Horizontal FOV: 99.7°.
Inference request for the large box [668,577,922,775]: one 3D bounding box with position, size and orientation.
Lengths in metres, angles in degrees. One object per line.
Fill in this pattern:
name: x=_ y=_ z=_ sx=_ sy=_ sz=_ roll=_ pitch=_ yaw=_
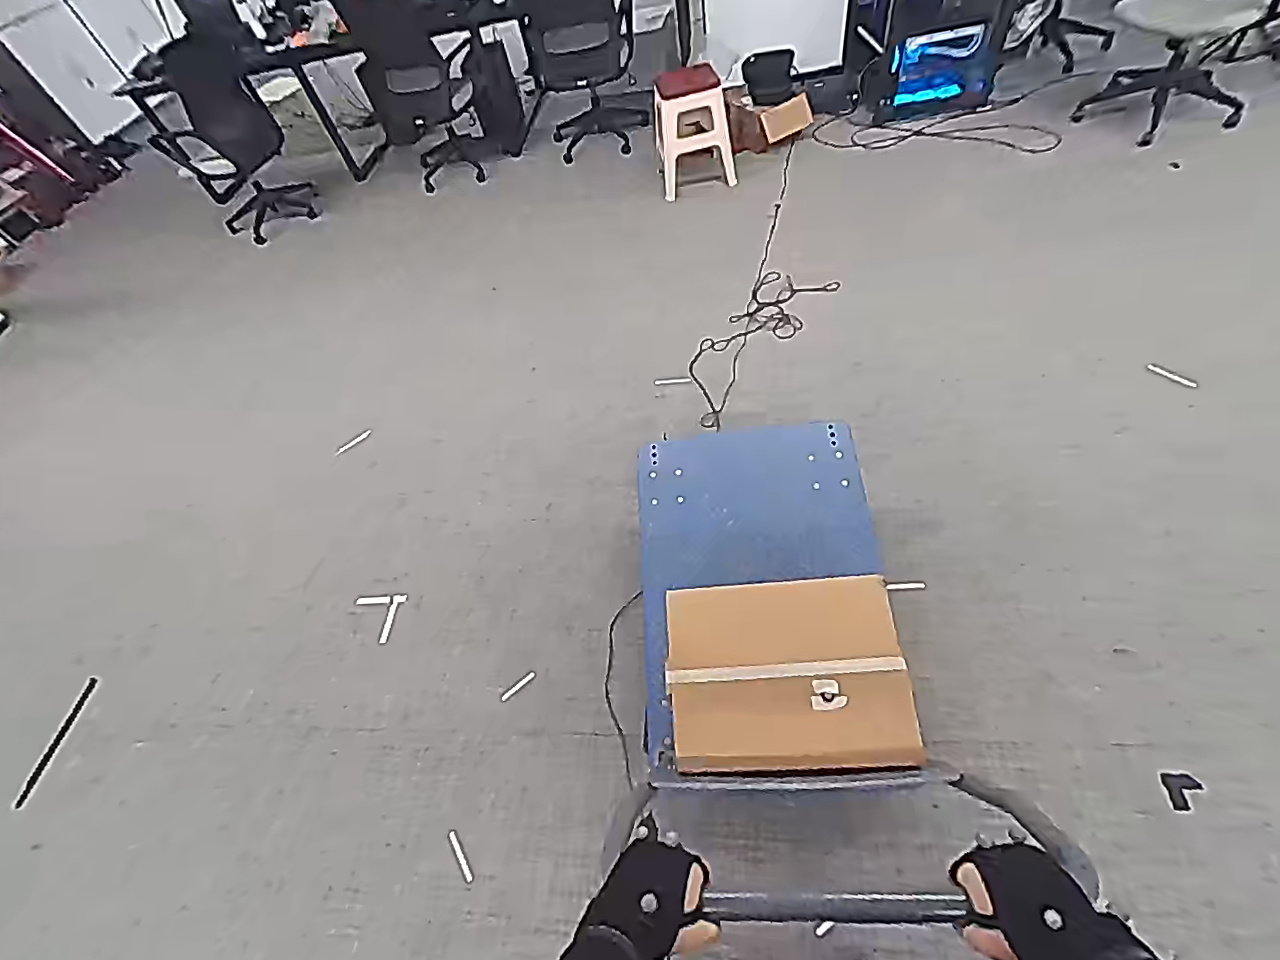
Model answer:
large box: x=0.281 y=0.403 z=1.101 sx=0.408 sy=0.320 sz=0.320 roll=-6 pitch=66 yaw=7
